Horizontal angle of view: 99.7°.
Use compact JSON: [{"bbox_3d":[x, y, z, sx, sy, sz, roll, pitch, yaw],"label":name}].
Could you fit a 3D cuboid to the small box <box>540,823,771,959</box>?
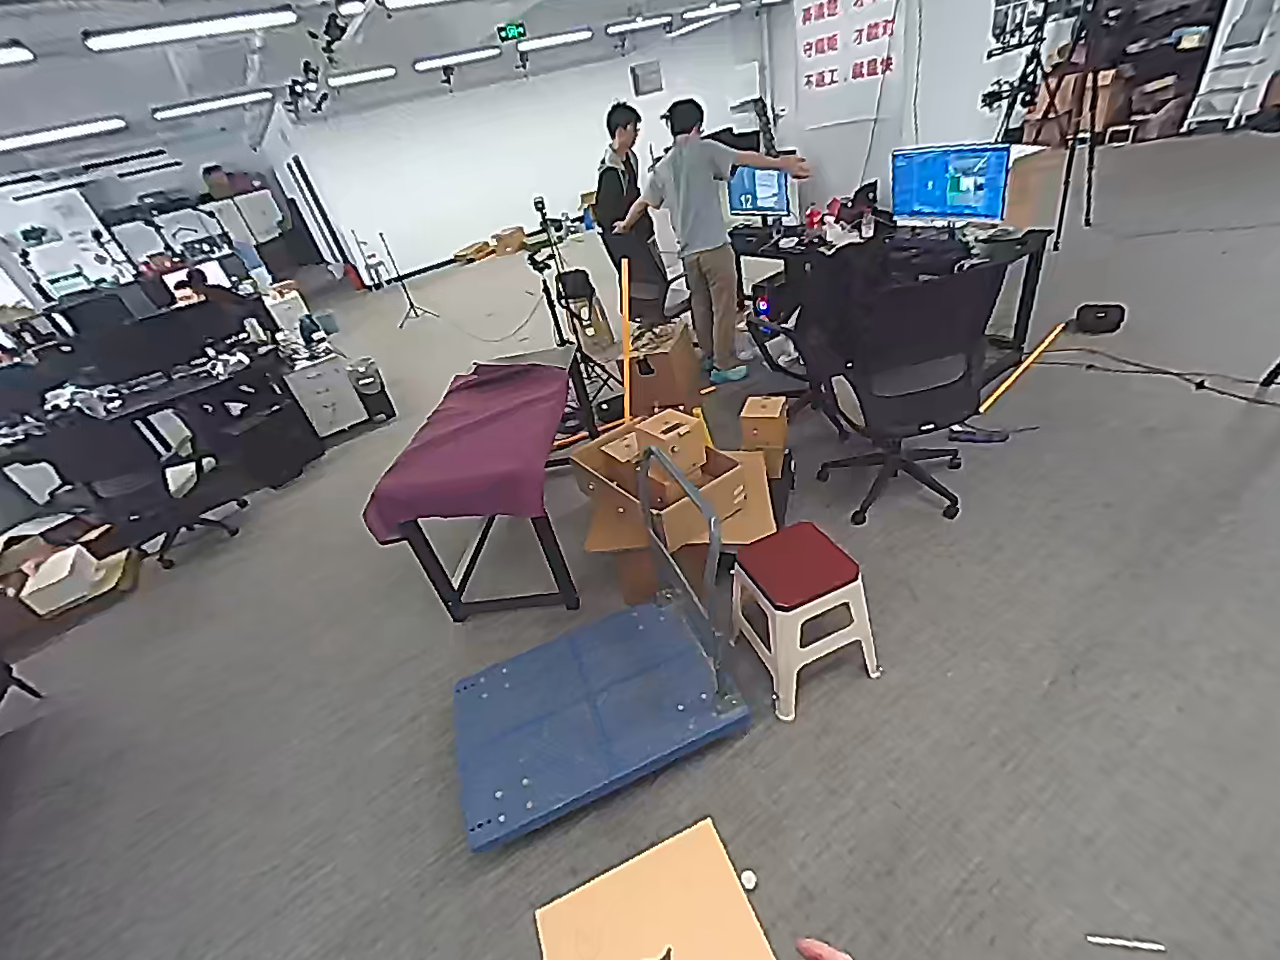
[{"bbox_3d":[0.030,0.442,0.458,0.168,0.176,0.179,-21,41,-10],"label":"small box"}]
